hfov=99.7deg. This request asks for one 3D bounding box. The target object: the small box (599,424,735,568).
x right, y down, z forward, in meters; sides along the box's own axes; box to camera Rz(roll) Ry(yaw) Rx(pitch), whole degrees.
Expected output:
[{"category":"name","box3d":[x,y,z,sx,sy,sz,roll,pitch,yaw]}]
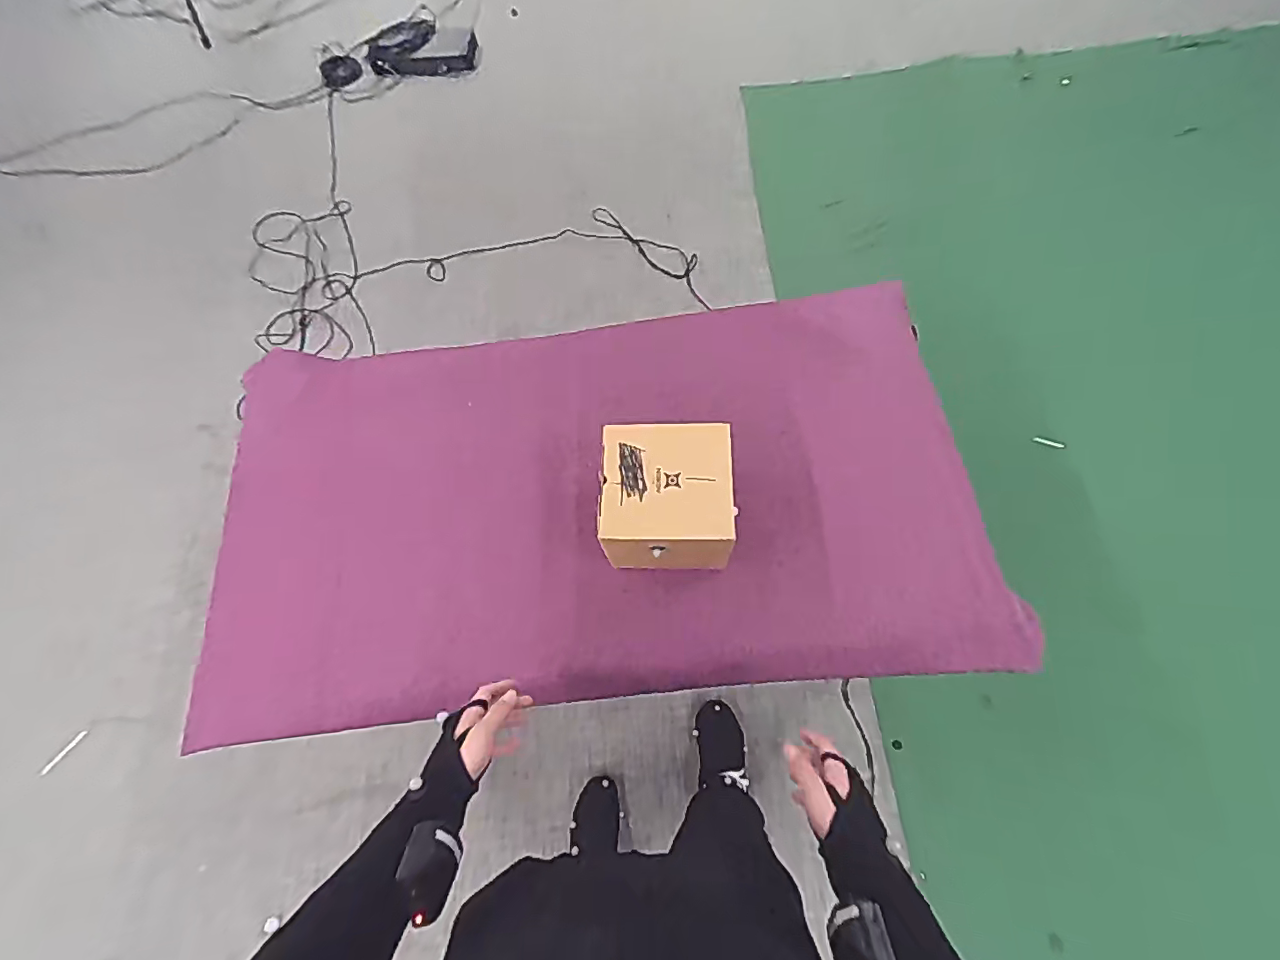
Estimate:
[{"category":"small box","box3d":[0.042,0.030,0.783,0.179,0.176,0.168,0,69,4]}]
